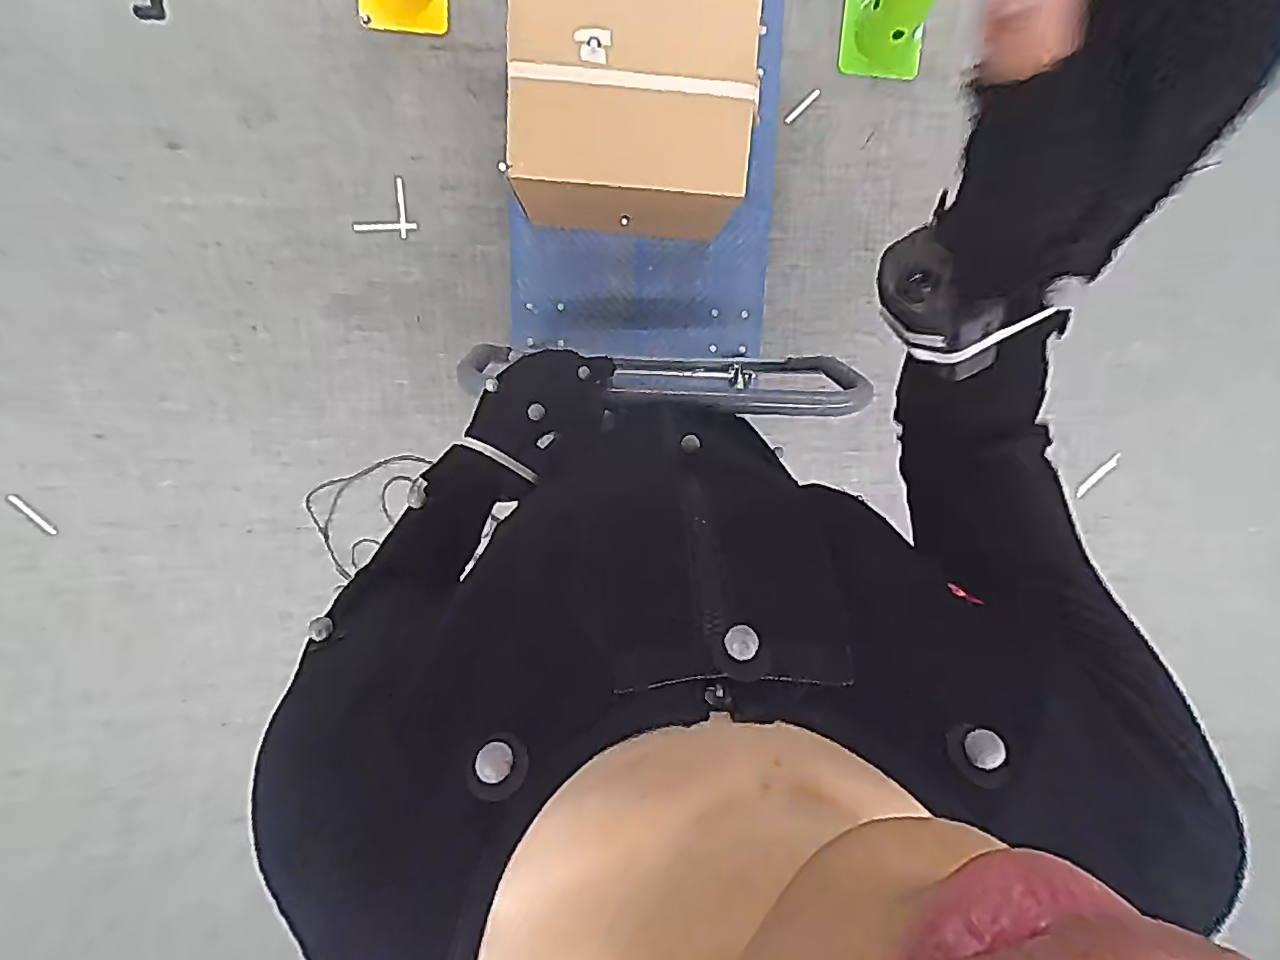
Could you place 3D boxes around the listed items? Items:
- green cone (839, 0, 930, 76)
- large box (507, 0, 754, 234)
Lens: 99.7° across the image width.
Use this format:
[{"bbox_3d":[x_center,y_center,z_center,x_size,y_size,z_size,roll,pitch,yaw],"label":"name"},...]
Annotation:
[{"bbox_3d":[0.599,-1.070,1.146,0.202,0.368,0.200,2,100,-5],"label":"green cone"},{"bbox_3d":[-0.023,-0.677,1.039,0.408,0.320,0.320,3,101,-3],"label":"large box"}]
